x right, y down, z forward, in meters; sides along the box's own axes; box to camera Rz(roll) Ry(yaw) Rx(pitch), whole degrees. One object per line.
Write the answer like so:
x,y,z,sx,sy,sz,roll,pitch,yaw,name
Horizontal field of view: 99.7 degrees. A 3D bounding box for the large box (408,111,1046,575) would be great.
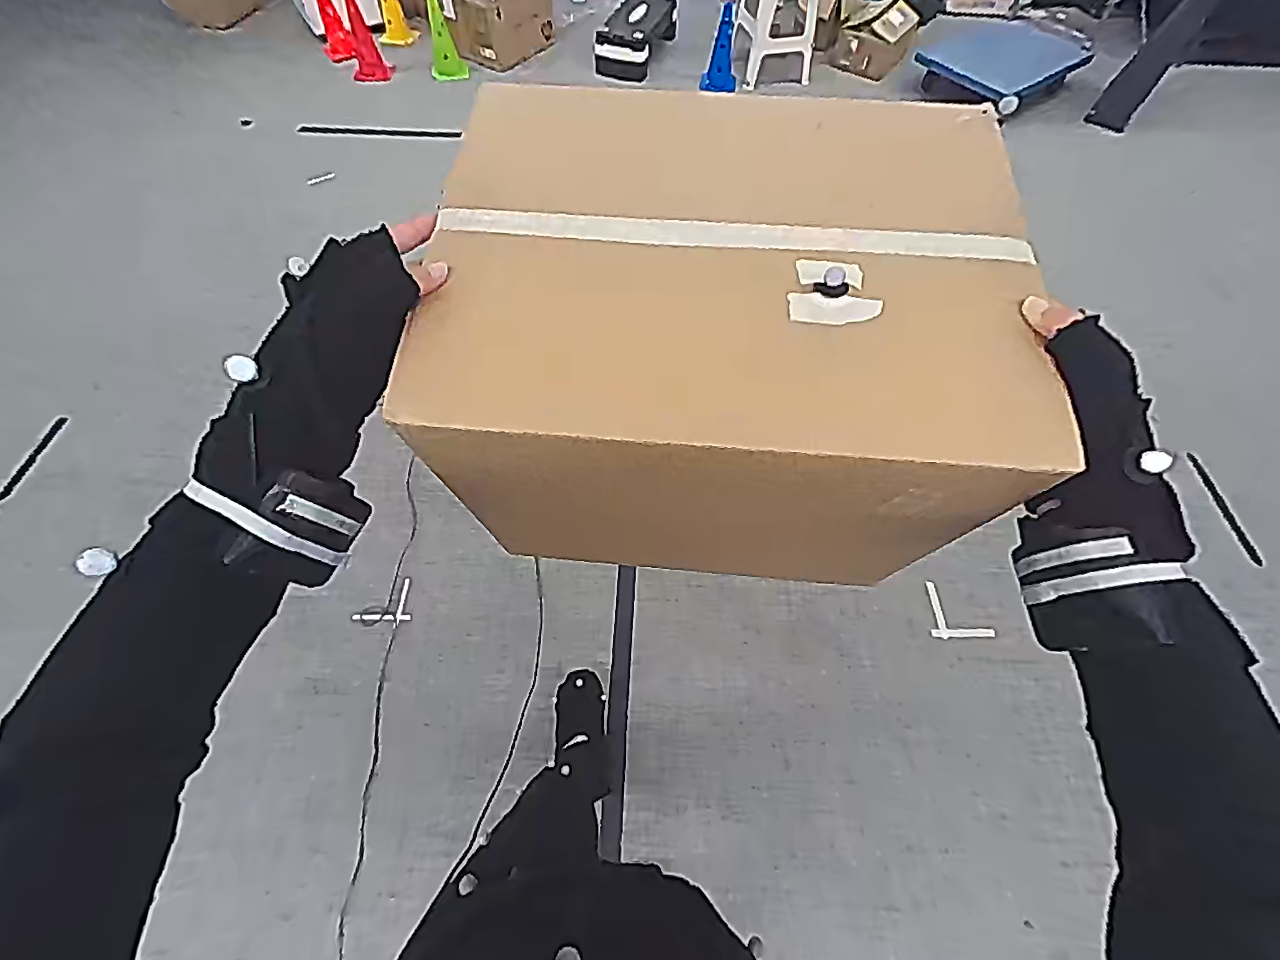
0.060,-0.103,0.527,0.408,0.320,0.320,4,67,2,large box
